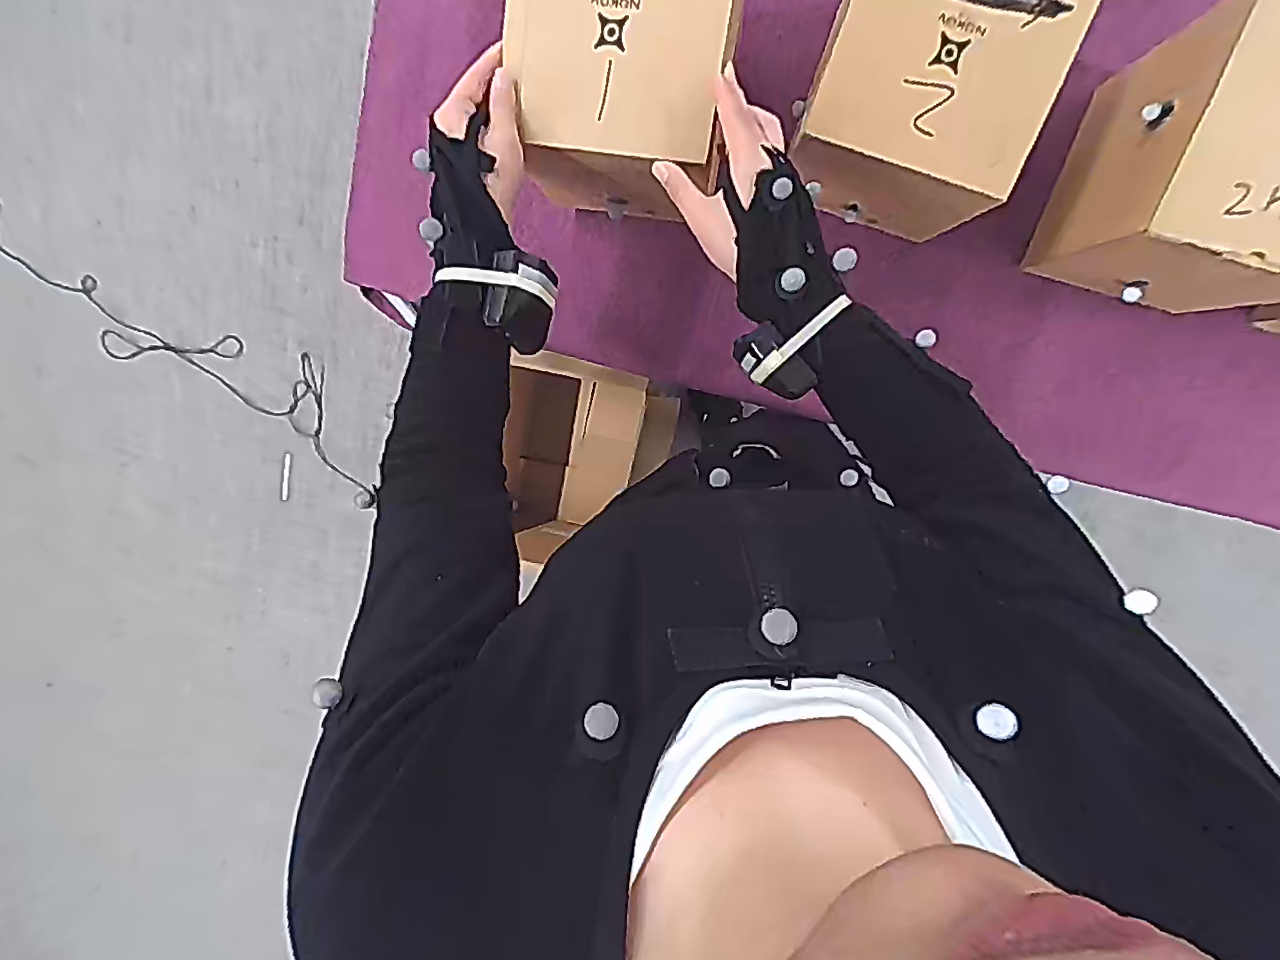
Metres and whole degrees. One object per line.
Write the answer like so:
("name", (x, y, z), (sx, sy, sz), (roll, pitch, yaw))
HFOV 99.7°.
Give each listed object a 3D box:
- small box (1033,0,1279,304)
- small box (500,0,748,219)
("small box", (0.487, -0.264, 0.458), (0.168, 0.176, 0.179), (17, 104, 2))
("small box", (-0.003, -0.348, 0.463), (0.168, 0.176, 0.179), (11, 103, 5))
